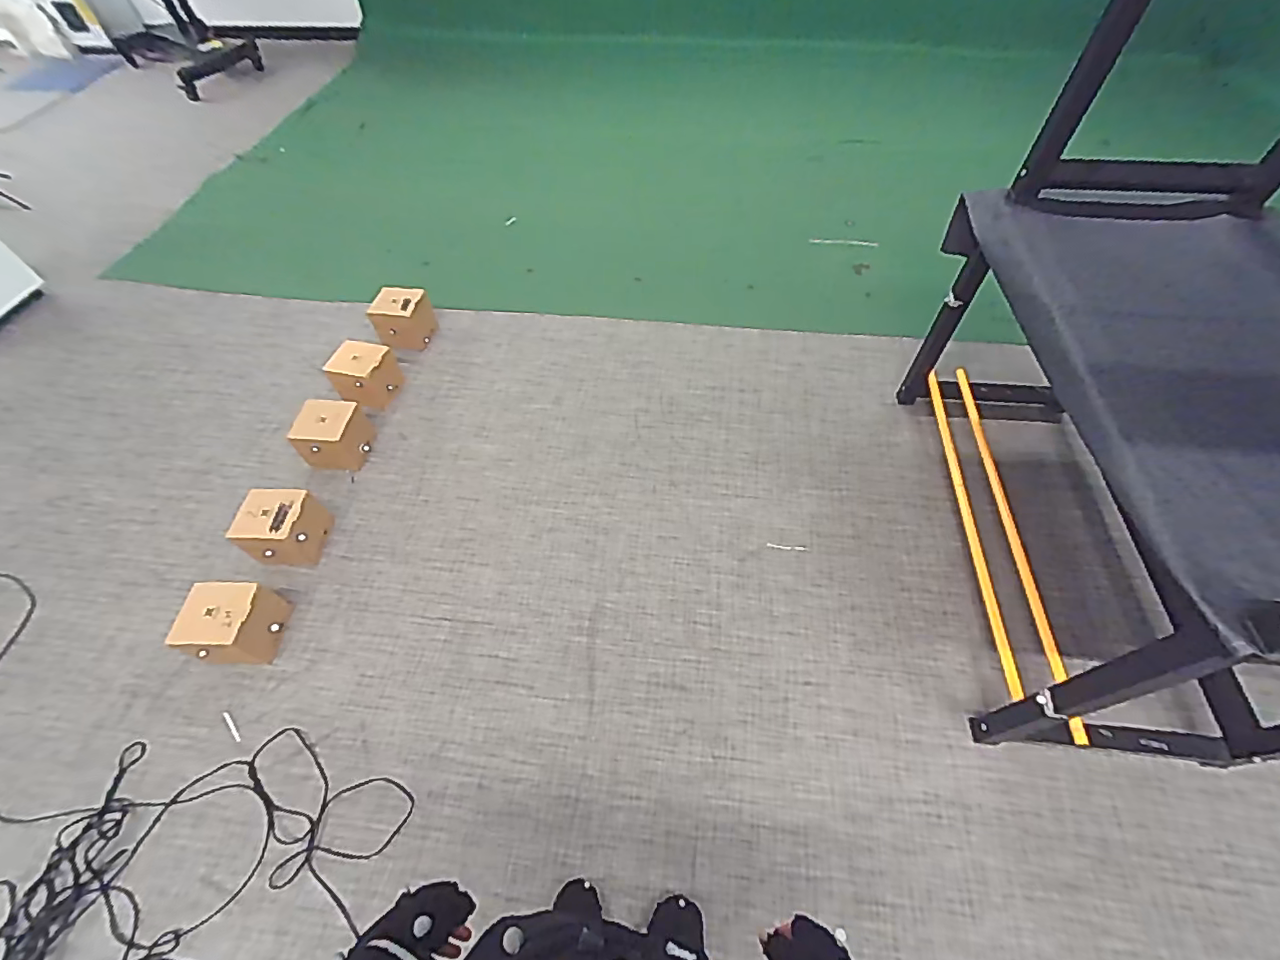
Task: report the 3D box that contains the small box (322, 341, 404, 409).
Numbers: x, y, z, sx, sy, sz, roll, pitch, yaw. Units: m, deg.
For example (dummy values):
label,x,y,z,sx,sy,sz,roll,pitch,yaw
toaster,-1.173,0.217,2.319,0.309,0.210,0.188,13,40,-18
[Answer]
label,x,y,z,sx,sy,sz,roll,pitch,yaw
small box,-0.998,-0.377,1.966,0.179,0.176,0.168,11,56,8

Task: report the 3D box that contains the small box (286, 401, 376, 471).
label,x,y,z,sx,sy,sz,roll,pitch,yaw
small box,-1.020,-0.145,1.802,0.179,0.176,0.168,4,57,2

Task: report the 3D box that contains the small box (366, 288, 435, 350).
label,x,y,z,sx,sy,sz,roll,pitch,yaw
small box,-0.940,-0.635,2.145,0.179,0.176,0.168,6,55,6

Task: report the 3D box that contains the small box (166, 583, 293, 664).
label,x,y,z,sx,sy,sz,roll,pitch,yaw
small box,-1.076,0.384,1.433,0.179,0.176,0.168,0,56,1
